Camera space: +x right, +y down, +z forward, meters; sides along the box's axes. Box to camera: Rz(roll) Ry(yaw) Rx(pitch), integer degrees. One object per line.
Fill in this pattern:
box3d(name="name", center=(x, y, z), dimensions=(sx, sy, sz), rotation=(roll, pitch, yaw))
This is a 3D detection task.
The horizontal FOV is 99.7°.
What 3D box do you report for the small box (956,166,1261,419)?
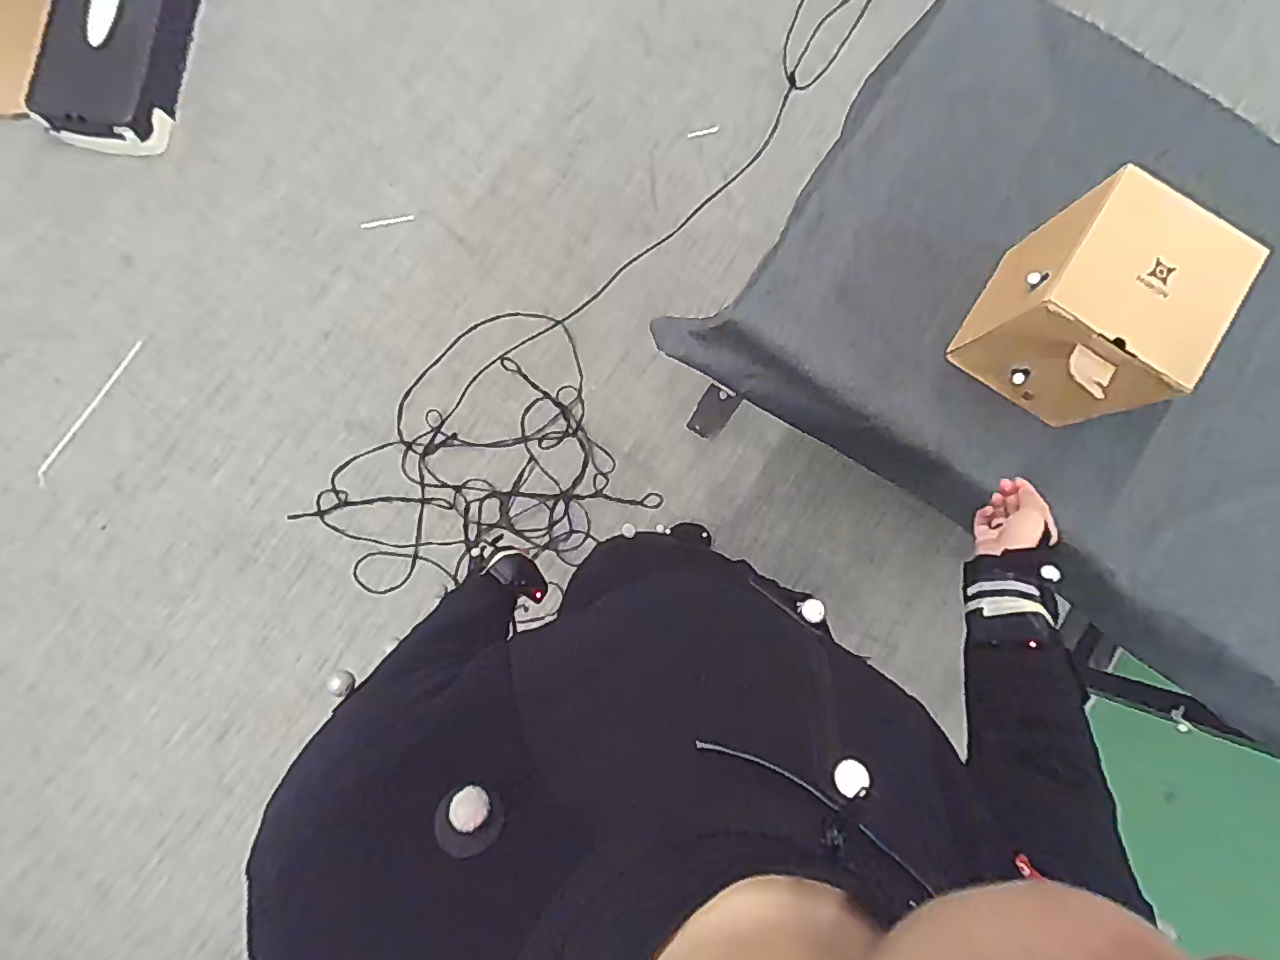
box3d(name="small box", center=(0.505, -0.194, 0.612), dimensions=(0.168, 0.176, 0.179), rotation=(33, 84, 1))
